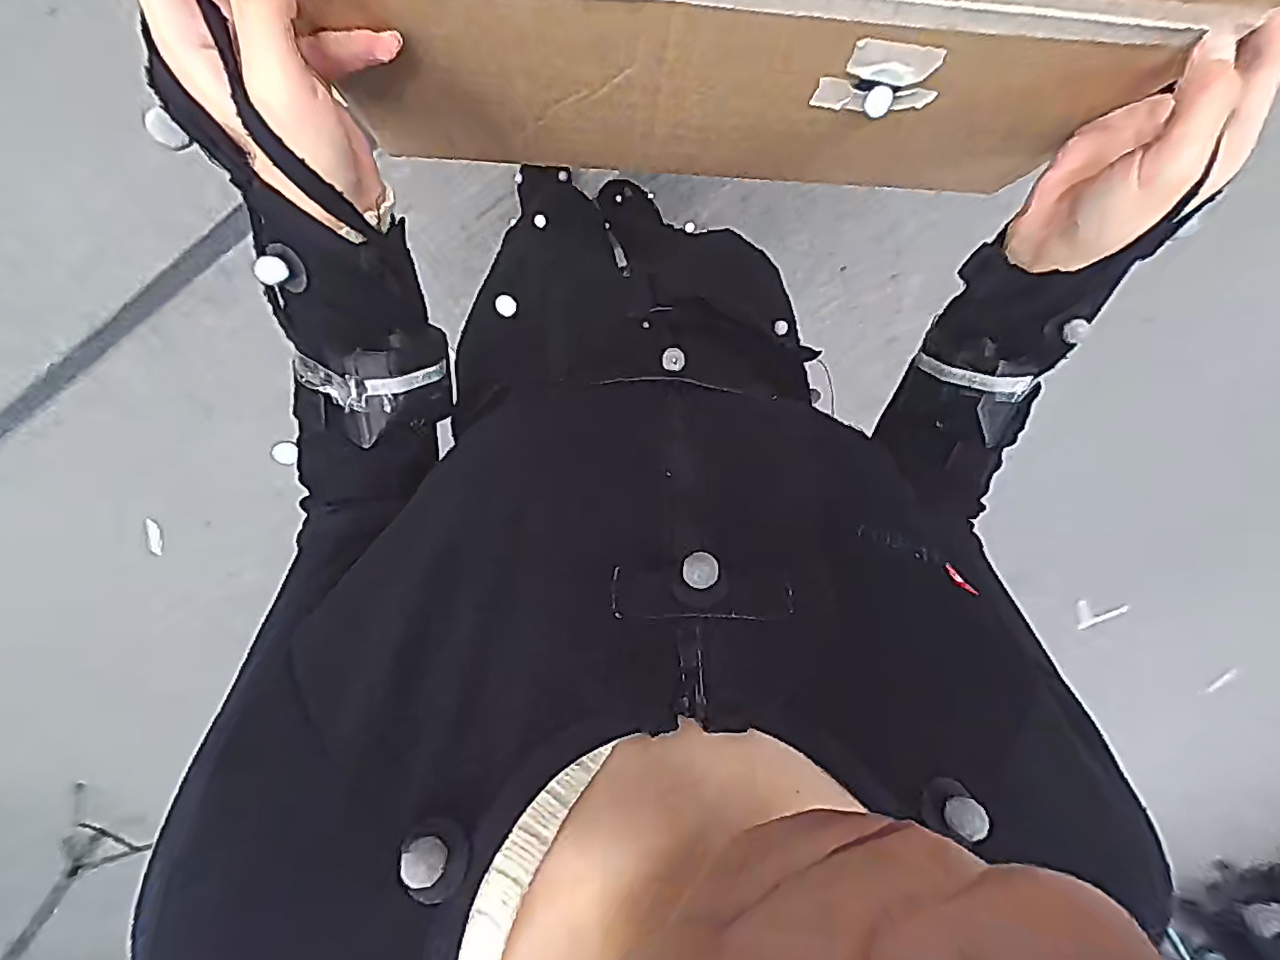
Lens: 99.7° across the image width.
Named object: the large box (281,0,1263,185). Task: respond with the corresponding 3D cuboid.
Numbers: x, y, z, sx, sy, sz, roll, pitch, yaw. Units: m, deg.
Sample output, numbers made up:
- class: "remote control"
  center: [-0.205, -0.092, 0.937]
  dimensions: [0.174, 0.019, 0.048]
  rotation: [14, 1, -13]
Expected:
- class: "large box"
  center: [0.051, -0.347, 0.200]
  dimensions: [0.408, 0.320, 0.320]
  rotation: [1, 95, -4]
